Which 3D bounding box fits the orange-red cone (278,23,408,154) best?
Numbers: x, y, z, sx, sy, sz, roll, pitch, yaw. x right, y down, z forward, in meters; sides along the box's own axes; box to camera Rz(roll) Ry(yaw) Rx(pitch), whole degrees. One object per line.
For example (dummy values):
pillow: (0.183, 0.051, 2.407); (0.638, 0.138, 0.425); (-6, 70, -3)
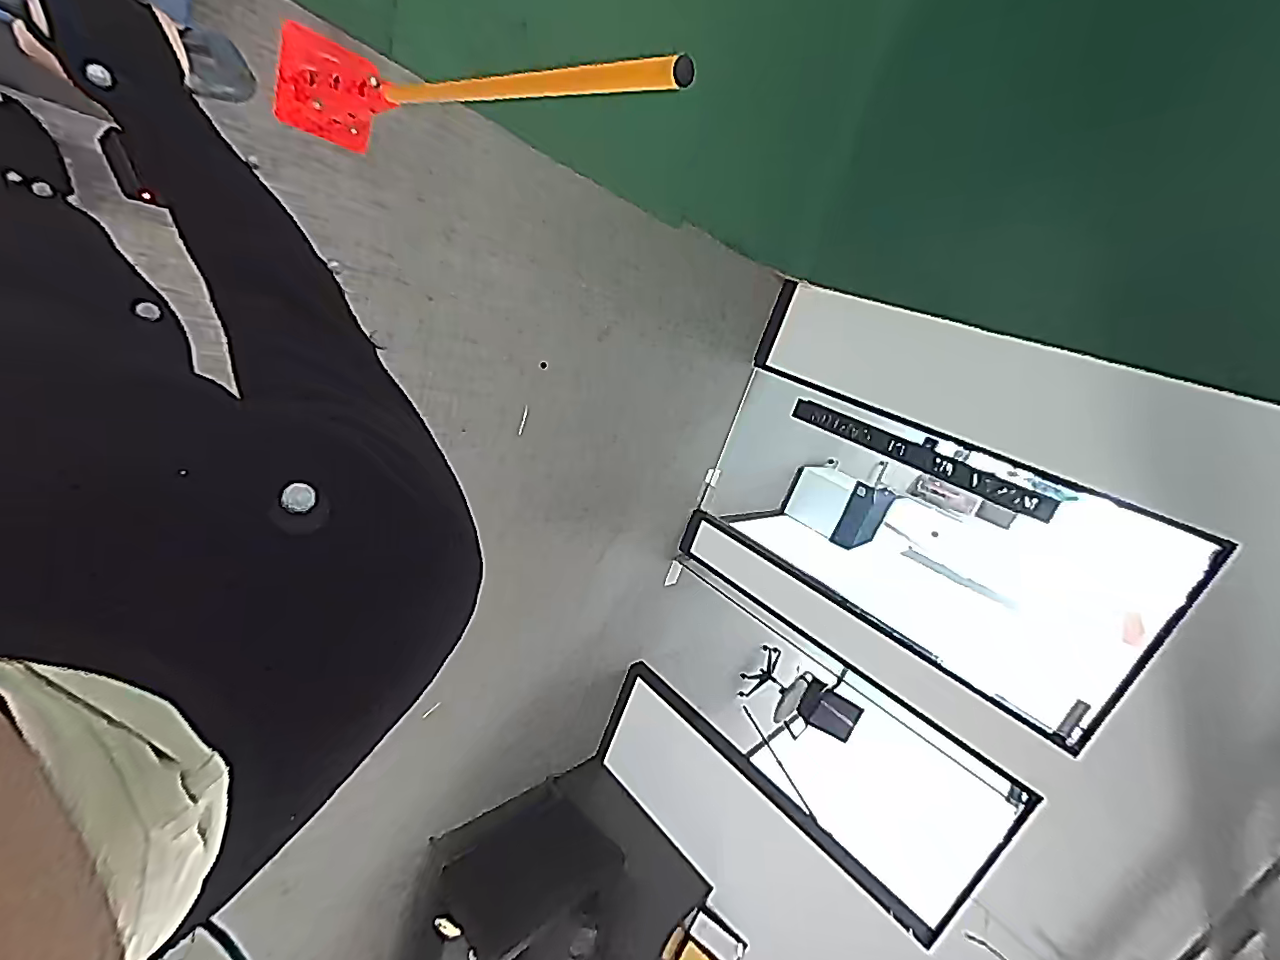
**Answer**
orange-red cone: (-0.586, -0.811, 1.133); (0.198, 0.360, 0.199); (-1, 115, -50)
